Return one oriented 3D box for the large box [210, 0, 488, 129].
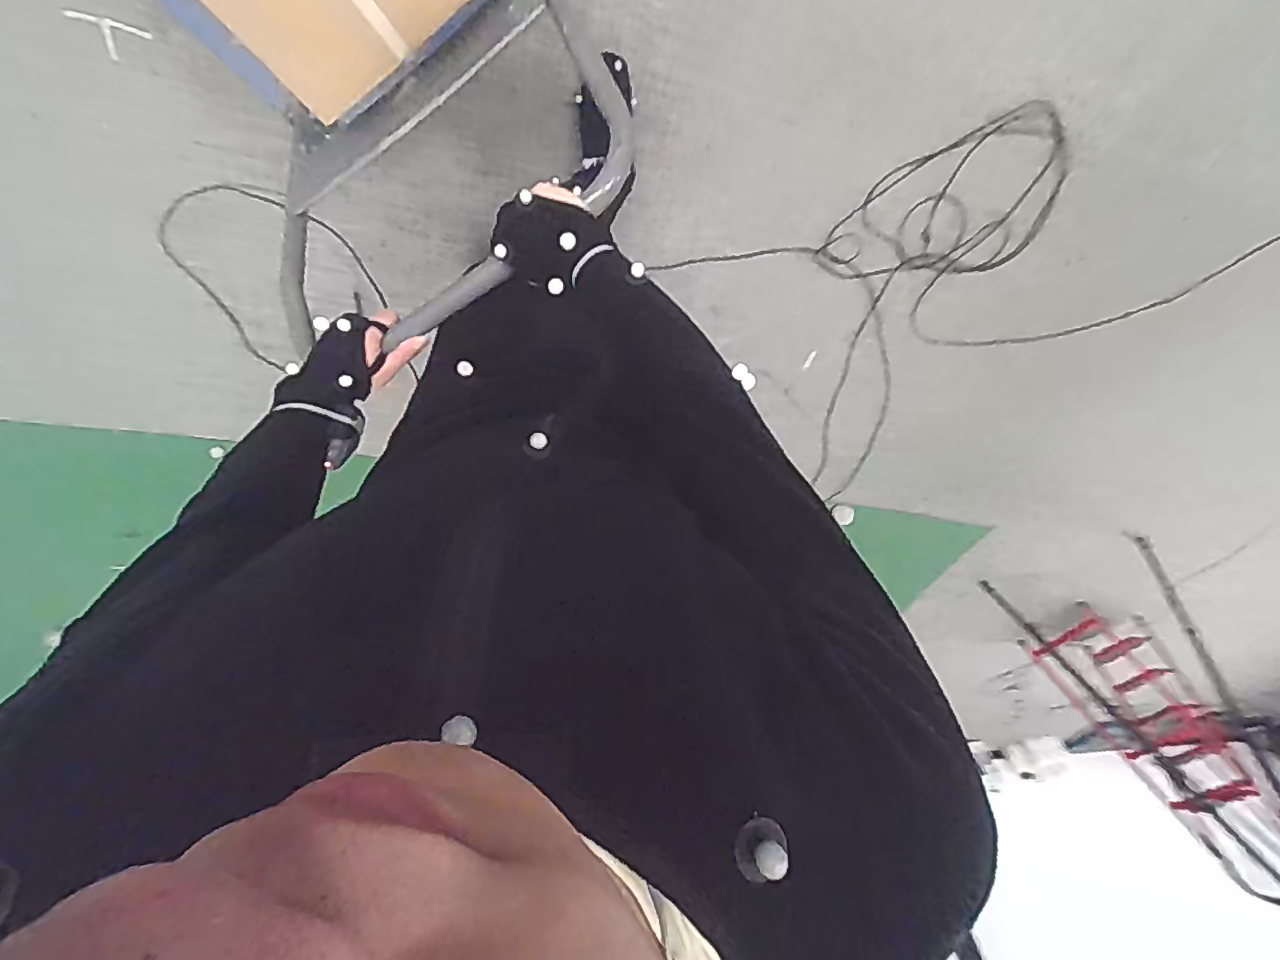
[{"bbox_3d":[-0.438,-0.779,0.687,0.320,0.320,0.408,-28,144,16],"label":"large box"}]
